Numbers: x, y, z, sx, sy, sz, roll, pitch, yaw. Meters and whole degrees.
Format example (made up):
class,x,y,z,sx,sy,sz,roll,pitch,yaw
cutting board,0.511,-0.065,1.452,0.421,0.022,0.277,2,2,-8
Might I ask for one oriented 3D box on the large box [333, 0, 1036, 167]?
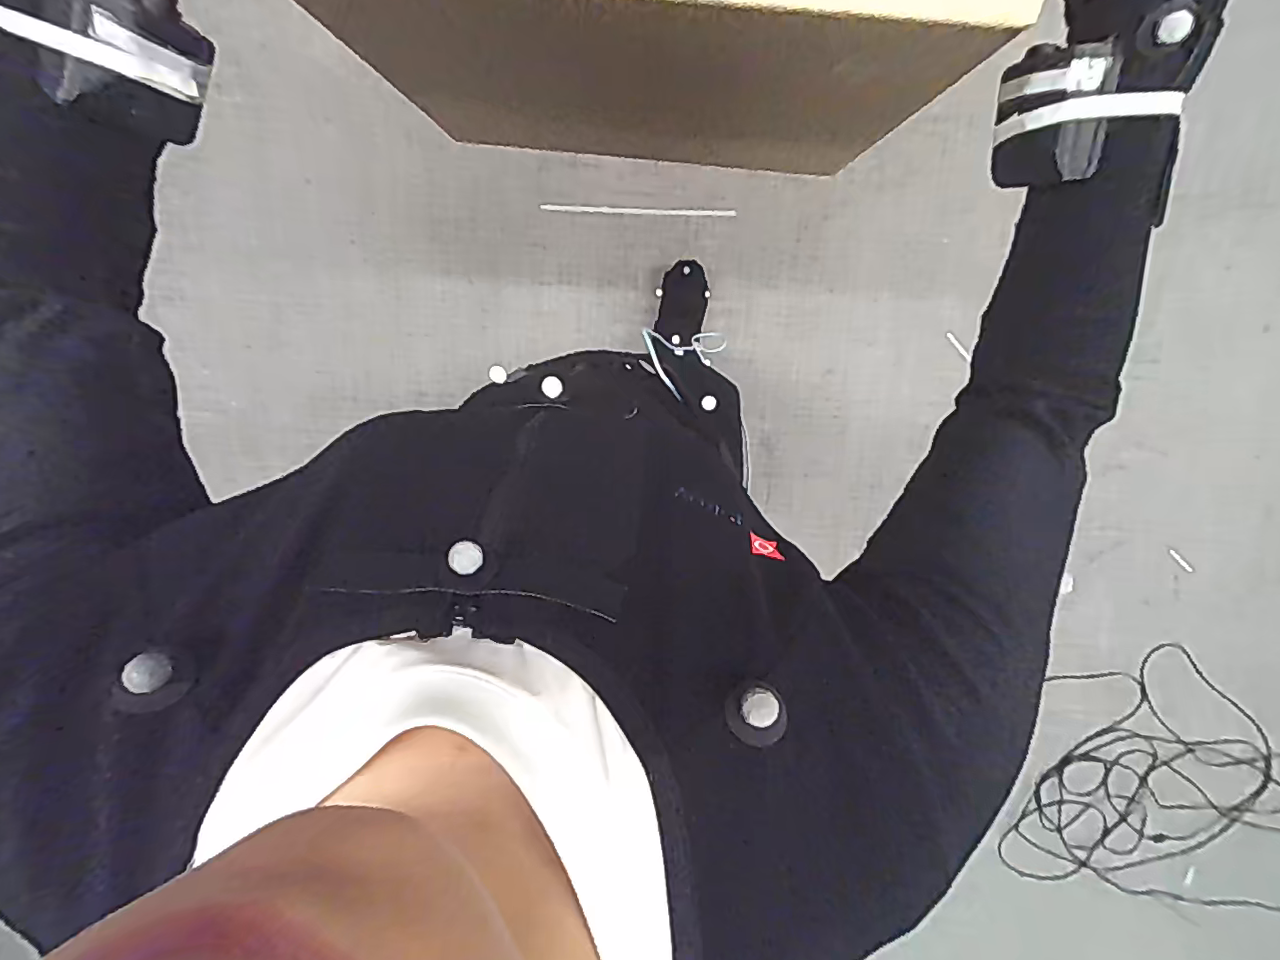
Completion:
class,x,y,z,sx,sy,sz,roll,pitch,yaw
large box,0.021,-0.444,0.385,0.408,0.320,0.320,4,107,-1
